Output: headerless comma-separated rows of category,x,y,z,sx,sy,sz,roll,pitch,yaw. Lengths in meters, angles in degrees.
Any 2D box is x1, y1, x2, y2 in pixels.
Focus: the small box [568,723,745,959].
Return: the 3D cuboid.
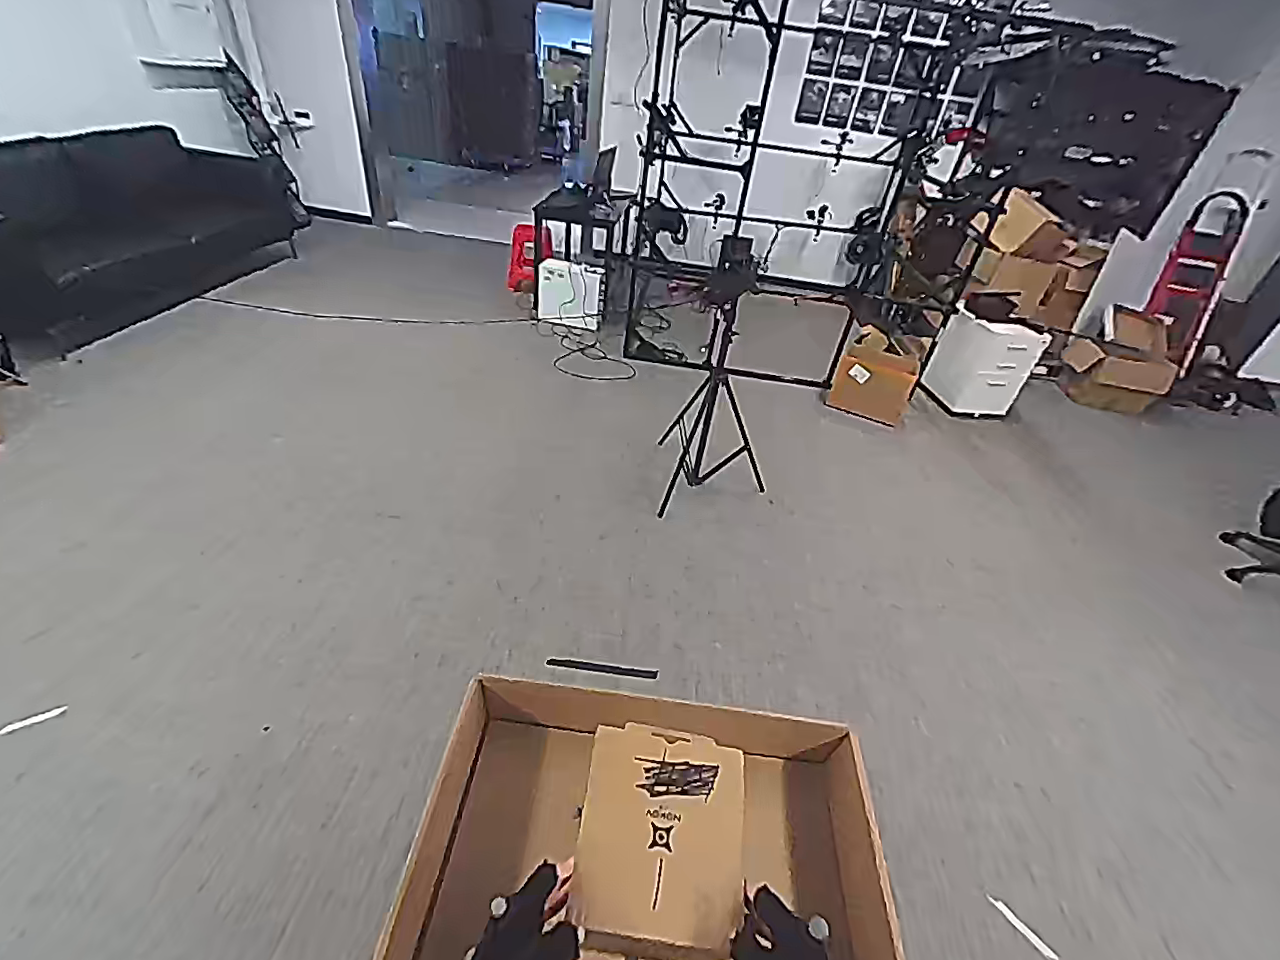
small box,0.015,0.404,0.605,0.168,0.176,0.179,9,45,0
